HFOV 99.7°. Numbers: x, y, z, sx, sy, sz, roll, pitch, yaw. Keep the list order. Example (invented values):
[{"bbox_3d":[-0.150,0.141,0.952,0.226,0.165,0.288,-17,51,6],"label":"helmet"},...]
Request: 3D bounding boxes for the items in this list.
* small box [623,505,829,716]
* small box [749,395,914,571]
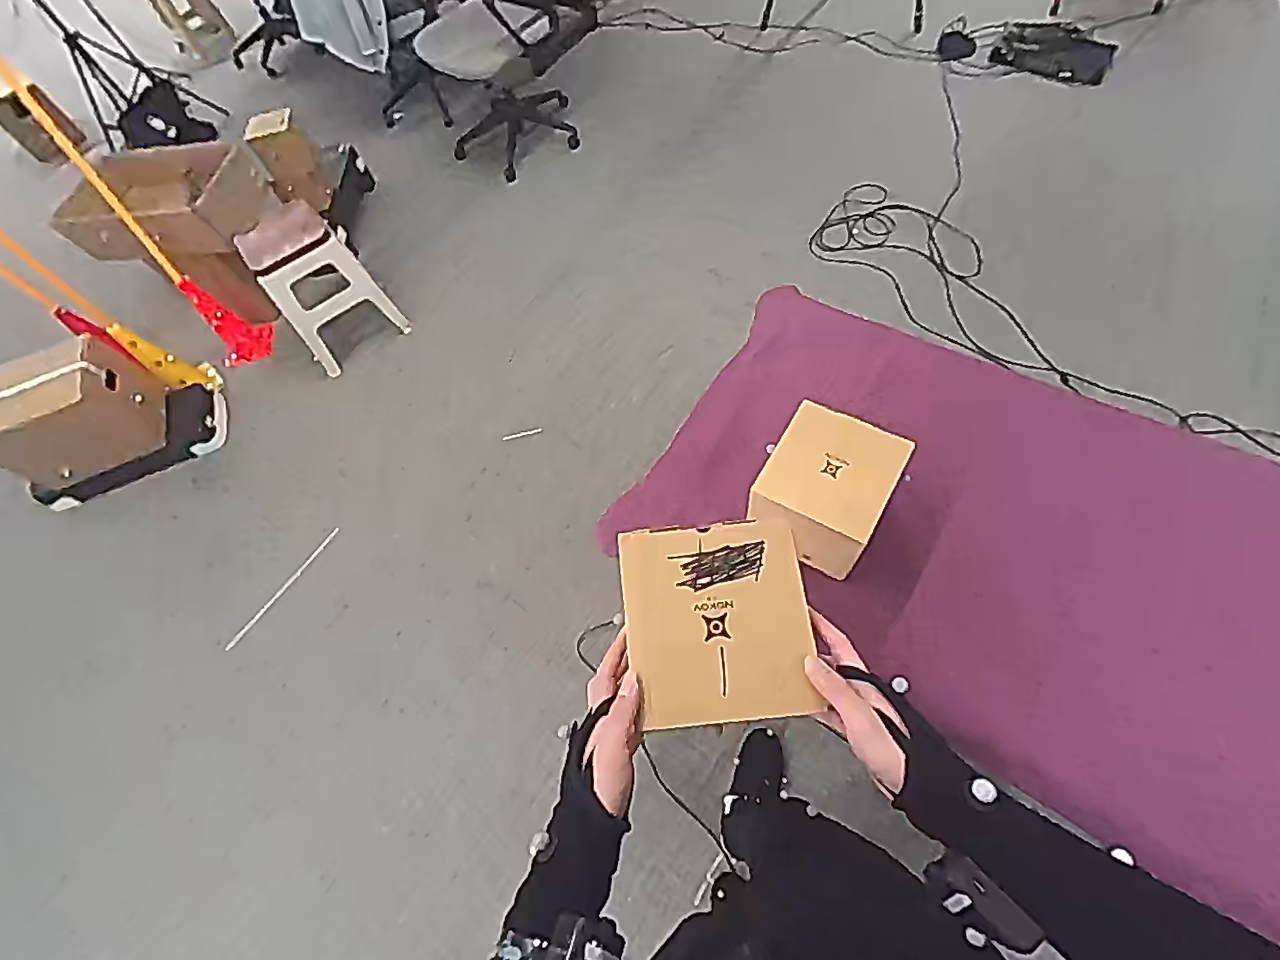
[{"bbox_3d":[0.074,0.140,0.556,0.168,0.176,0.179,-6,69,2],"label":"small box"},{"bbox_3d":[0.276,0.011,0.812,0.168,0.176,0.179,27,70,20],"label":"small box"}]
